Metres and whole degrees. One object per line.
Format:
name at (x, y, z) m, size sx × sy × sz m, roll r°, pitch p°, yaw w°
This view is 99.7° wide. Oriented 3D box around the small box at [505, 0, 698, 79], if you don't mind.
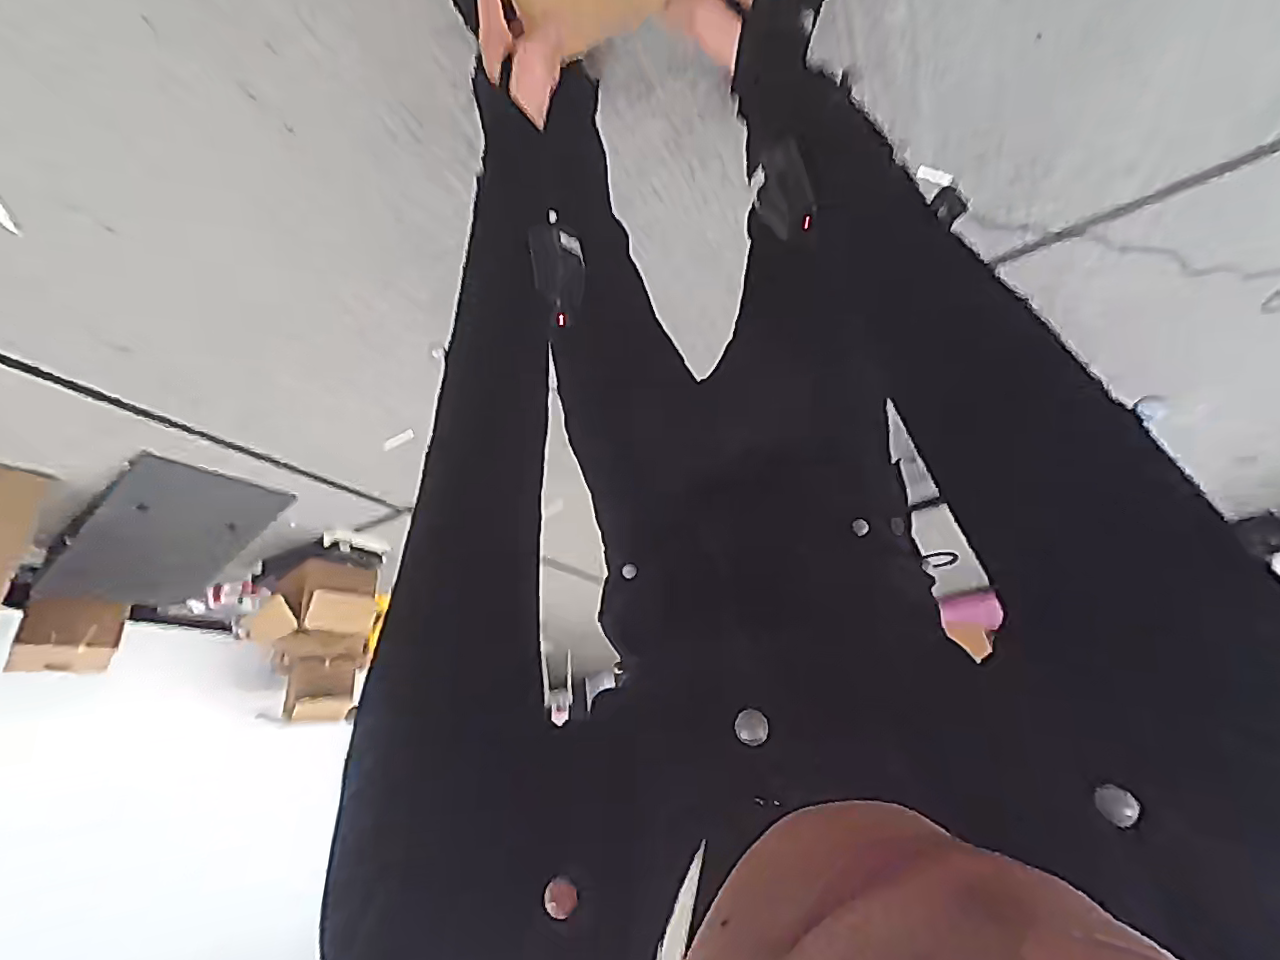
small box at (-0.052, -0.487, 0.444) m, size 0.168 × 0.176 × 0.179 m, roll -18°, pitch 142°, yaw 14°
